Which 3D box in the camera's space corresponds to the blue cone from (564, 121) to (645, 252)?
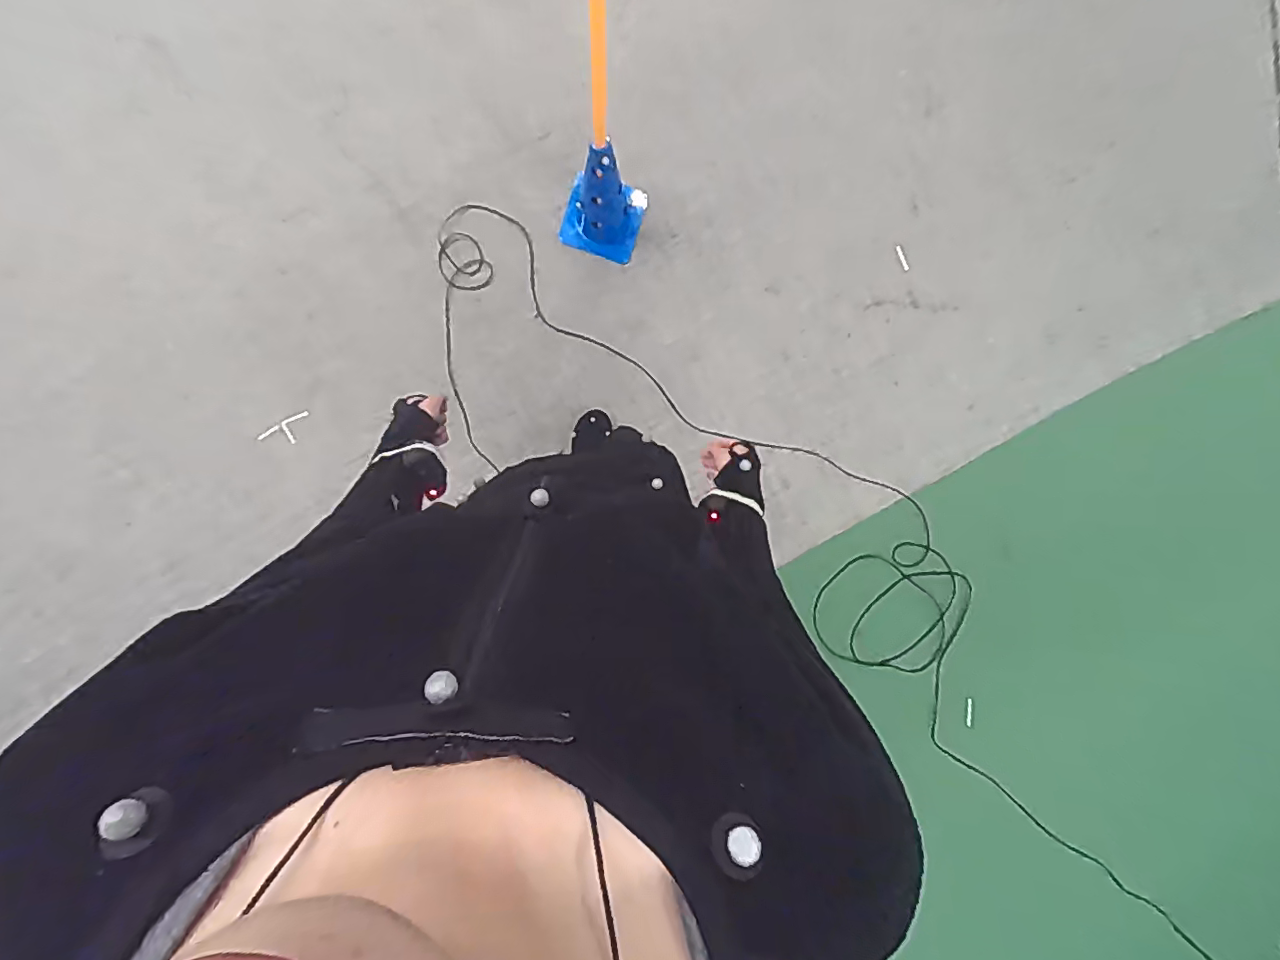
[{"bbox_3d":[-0.082,-0.701,1.250,0.192,0.380,0.193,16,92,-4],"label":"blue cone"}]
